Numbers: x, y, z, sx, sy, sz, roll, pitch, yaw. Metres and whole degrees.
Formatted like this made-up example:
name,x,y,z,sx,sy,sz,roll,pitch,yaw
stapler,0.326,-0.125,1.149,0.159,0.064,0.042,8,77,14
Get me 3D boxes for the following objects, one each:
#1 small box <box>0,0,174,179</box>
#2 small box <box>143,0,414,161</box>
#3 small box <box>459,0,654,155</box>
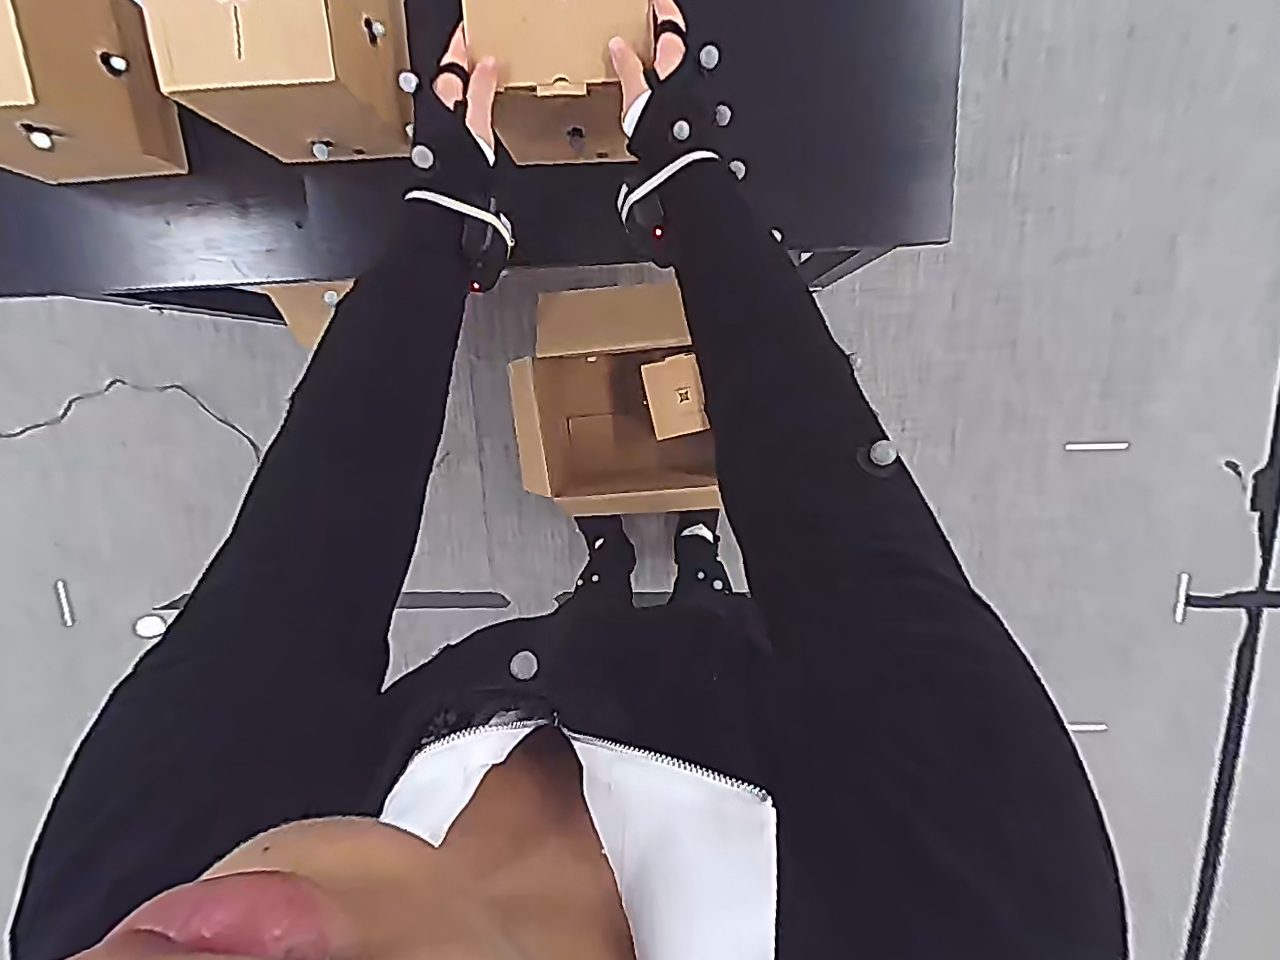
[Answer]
name,x,y,z,sx,sy,sz,roll,pitch,yaw
small box,-0.633,-0.431,0.557,0.179,0.176,0.168,-3,100,2
small box,-0.349,-0.451,0.546,0.168,0.176,0.179,-1,101,2
small box,-0.071,-0.444,0.539,0.168,0.176,0.179,-1,101,2
